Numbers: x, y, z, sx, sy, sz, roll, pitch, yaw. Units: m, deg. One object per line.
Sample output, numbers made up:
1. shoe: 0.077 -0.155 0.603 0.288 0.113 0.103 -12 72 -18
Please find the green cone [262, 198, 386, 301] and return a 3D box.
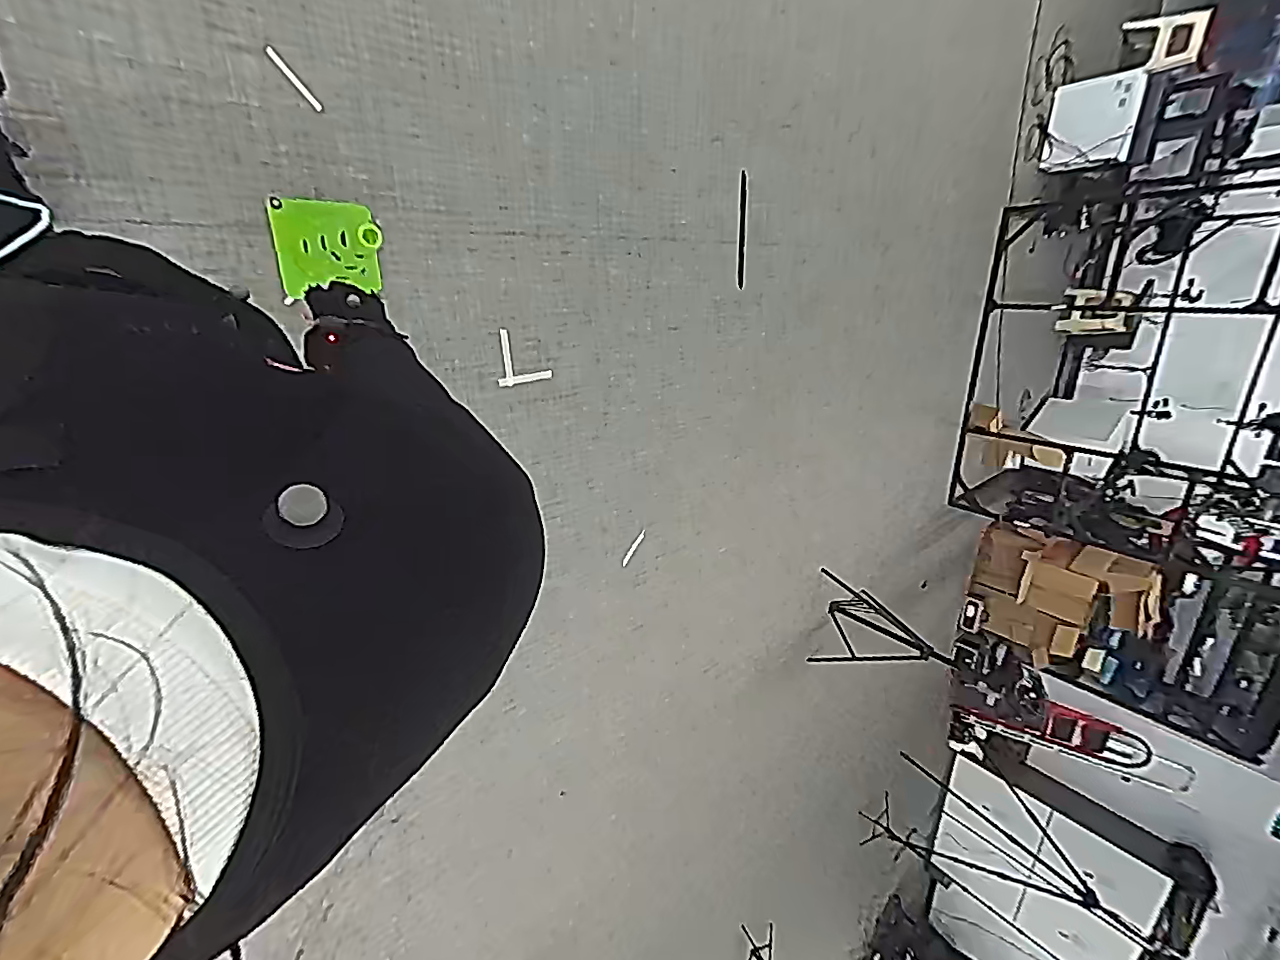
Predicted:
1. green cone: -0.580 -0.457 1.060 0.202 0.368 0.200 -16 115 -38
